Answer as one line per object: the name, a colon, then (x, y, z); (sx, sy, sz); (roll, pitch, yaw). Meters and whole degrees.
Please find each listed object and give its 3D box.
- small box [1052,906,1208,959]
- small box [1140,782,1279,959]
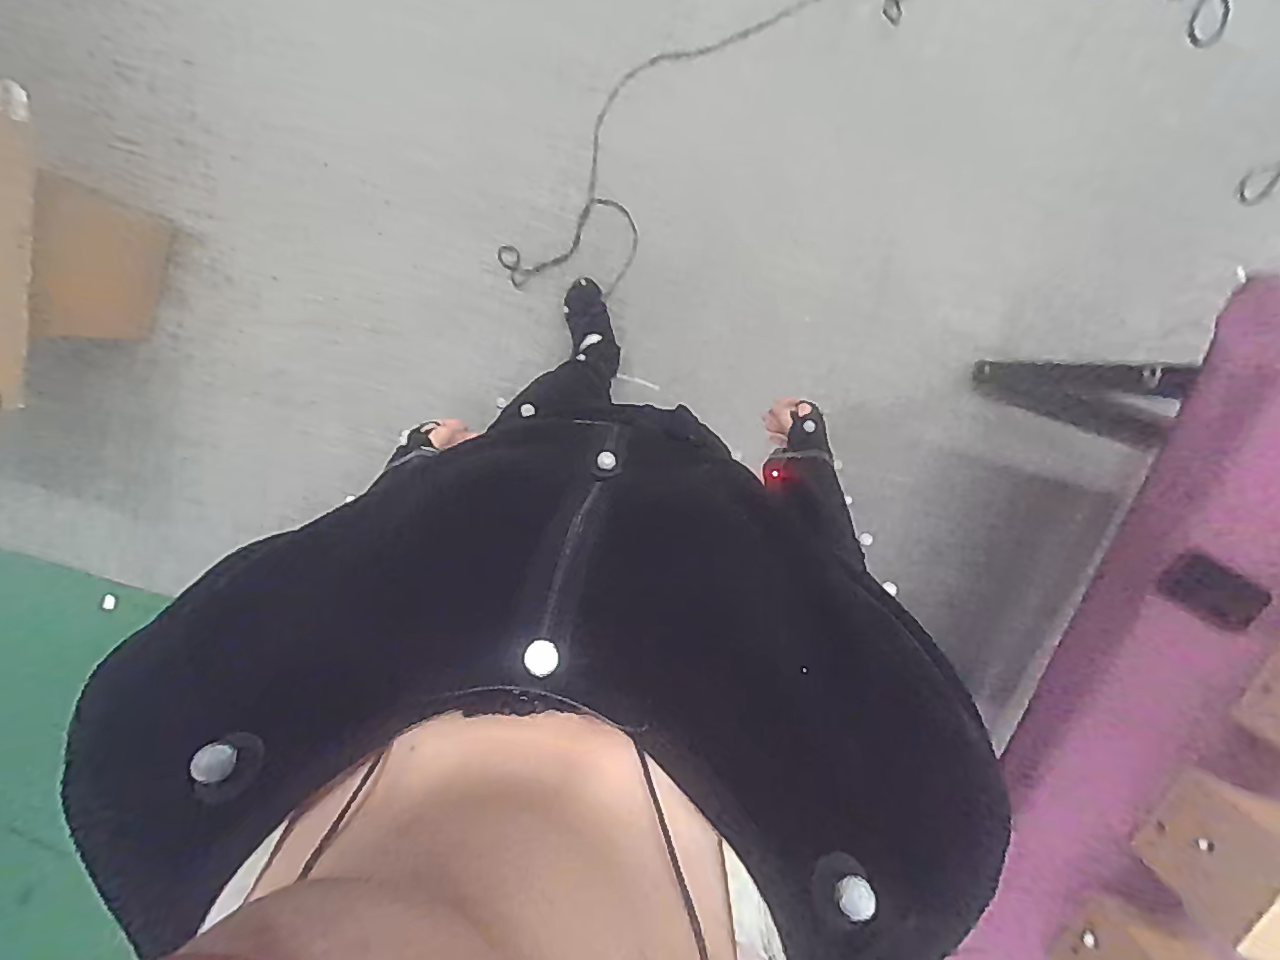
small box: (0.804, 0.813, 0.834); (0.179, 0.176, 0.168); (23, 101, -4)
small box: (0.899, 0.577, 0.778); (0.179, 0.176, 0.168); (22, 102, -4)
